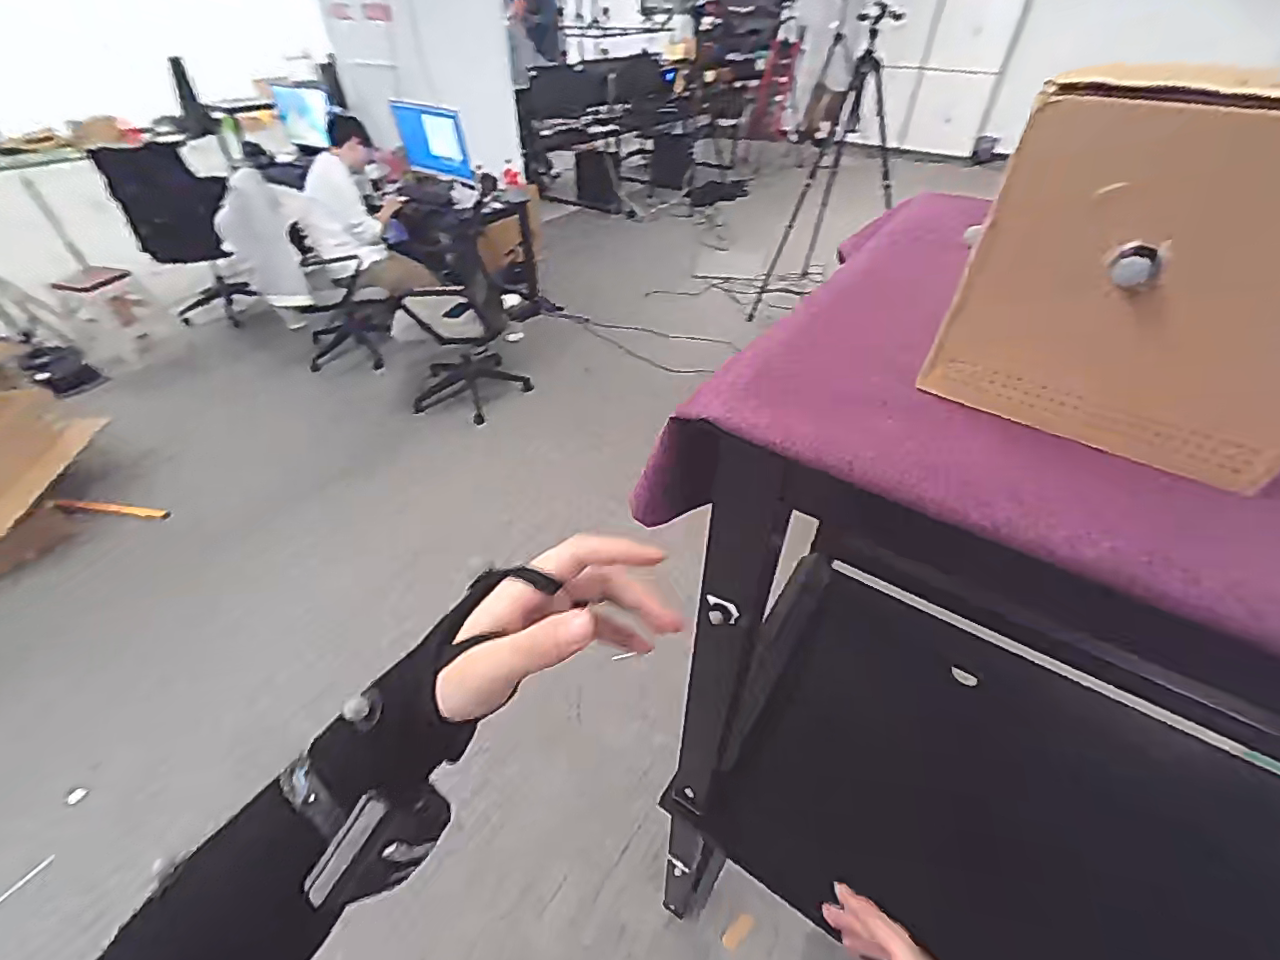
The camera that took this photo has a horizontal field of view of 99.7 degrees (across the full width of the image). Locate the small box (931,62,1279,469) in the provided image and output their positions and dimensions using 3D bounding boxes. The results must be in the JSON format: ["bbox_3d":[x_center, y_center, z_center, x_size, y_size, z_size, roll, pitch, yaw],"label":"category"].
[{"bbox_3d":[0.304,-0.133,0.318,0.179,0.176,0.168,27,49,27],"label":"small box"}]
